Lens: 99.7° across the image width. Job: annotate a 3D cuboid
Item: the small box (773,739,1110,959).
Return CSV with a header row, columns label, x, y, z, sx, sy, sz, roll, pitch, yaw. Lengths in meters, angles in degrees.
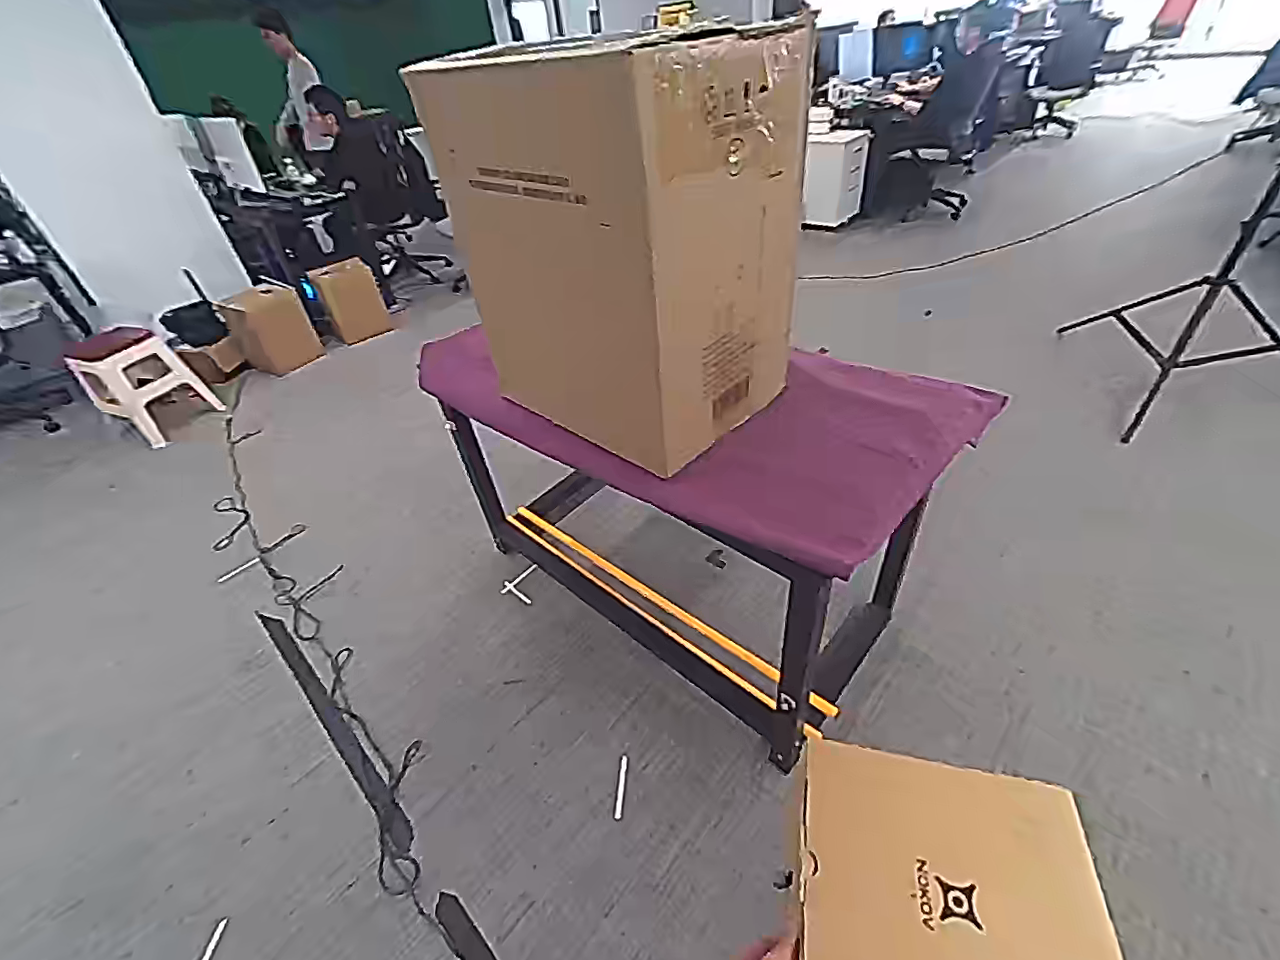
label,x,y,z,sx,sy,sz,roll,pitch,yaw
small box,0.191,0.315,0.383,0.179,0.176,0.168,4,42,14
